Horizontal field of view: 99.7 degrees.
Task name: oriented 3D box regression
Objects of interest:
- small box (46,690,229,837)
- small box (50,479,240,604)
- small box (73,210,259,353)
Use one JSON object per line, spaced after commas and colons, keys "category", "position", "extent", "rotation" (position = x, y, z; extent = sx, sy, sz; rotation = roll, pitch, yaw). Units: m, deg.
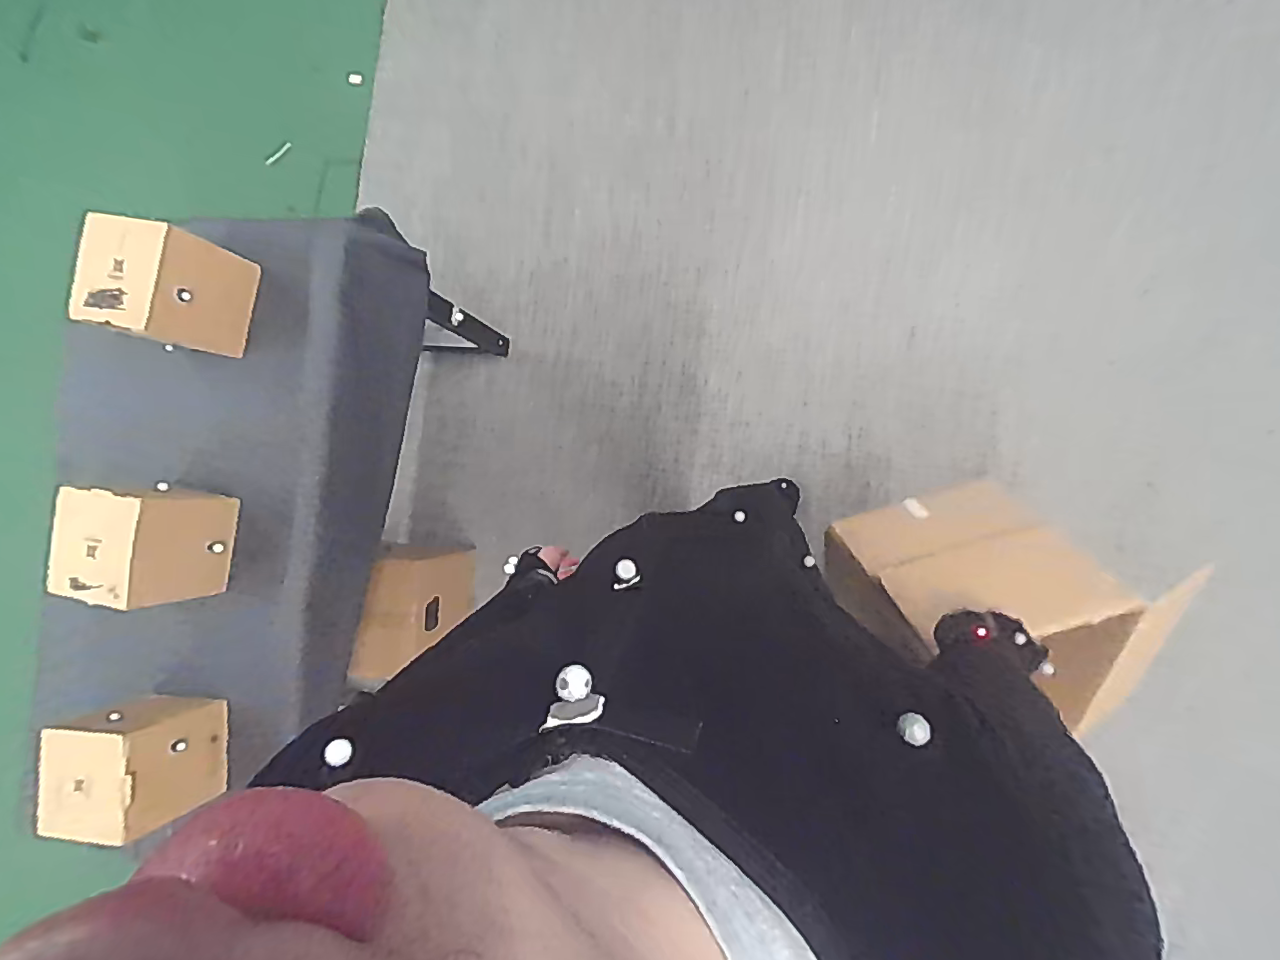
{"category": "small box", "position": [-0.843, 0.468, 0.921], "extent": [0.179, 0.176, 0.168], "rotation": [-2, 86, 14]}
{"category": "small box", "position": [-0.835, 0.099, 0.929], "extent": [0.168, 0.176, 0.179], "rotation": [9, 89, 12]}
{"category": "small box", "position": [-0.804, -0.332, 0.933], "extent": [0.168, 0.176, 0.179], "rotation": [13, 91, 12]}
